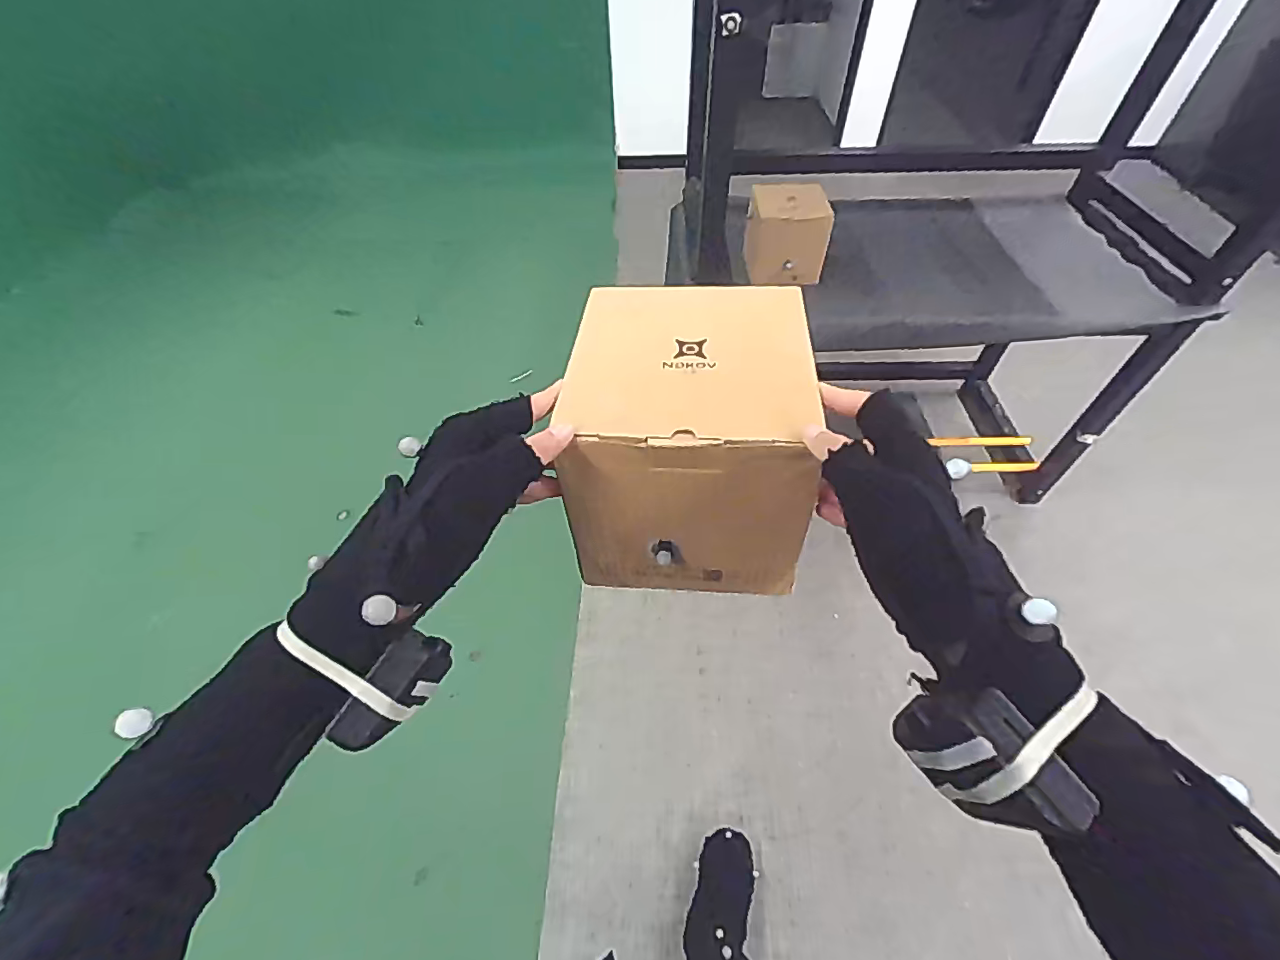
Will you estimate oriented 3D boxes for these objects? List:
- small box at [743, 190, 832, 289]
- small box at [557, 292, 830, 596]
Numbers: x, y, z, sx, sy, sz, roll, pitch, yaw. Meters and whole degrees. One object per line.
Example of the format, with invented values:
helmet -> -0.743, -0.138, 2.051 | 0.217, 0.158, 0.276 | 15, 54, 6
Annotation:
small box -> 0.350, -0.588, 1.323 | 0.168, 0.176, 0.179 | 0, 50, 2
small box -> 0.042, -0.030, 0.434 | 0.168, 0.176, 0.179 | 2, 48, 6
